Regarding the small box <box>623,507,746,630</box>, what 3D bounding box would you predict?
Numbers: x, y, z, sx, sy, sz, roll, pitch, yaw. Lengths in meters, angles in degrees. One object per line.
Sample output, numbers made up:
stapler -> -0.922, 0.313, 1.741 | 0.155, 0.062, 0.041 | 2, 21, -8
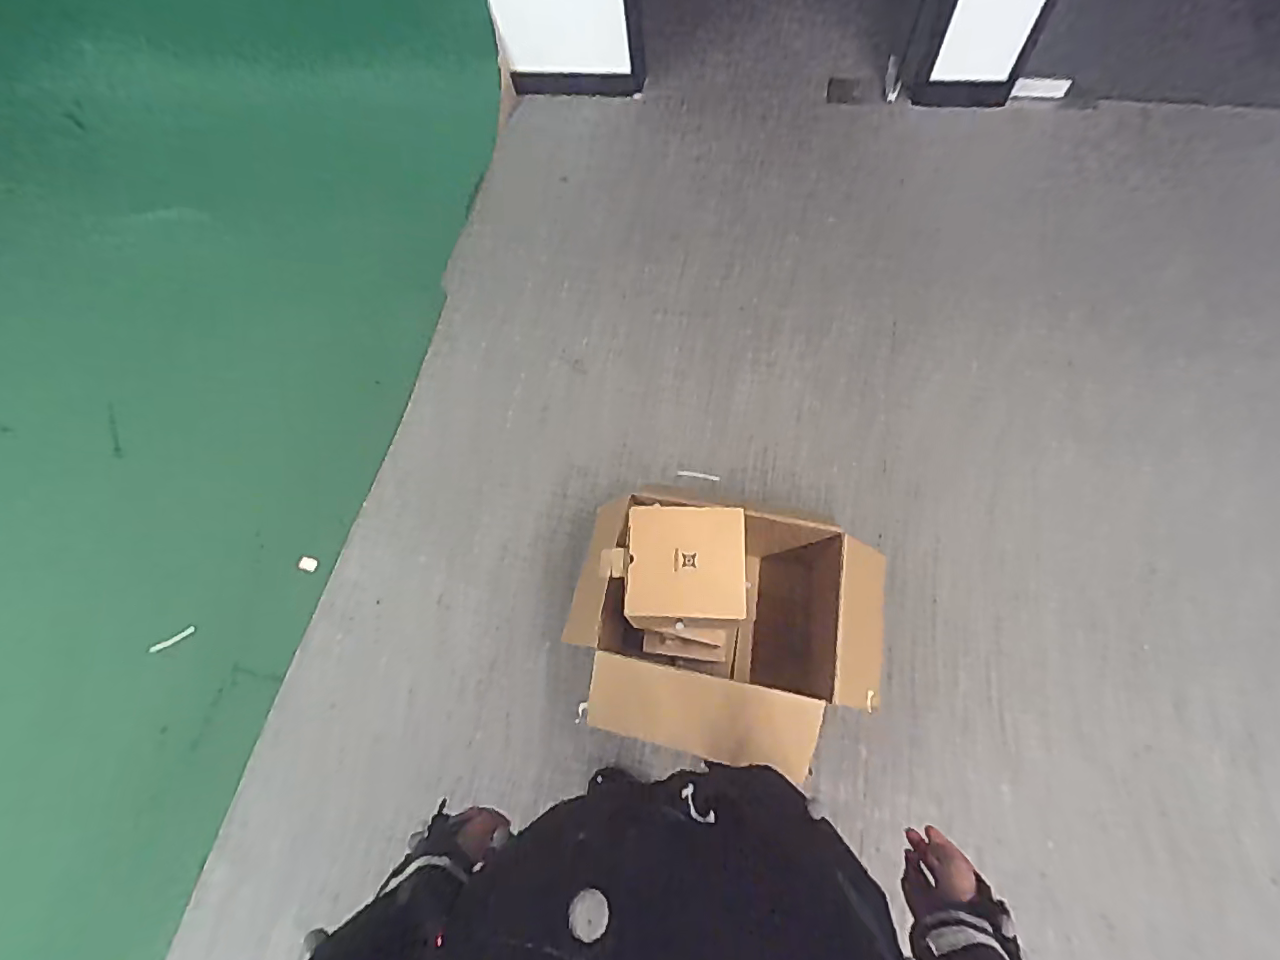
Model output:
small box -> 0.072, 0.148, 0.866 | 0.179, 0.176, 0.168 | 1, 70, 5

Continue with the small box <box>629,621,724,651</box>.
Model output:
small box -> 0.083, 0.212, 1.015 | 0.168, 0.176, 0.179 | 13, 72, 8
